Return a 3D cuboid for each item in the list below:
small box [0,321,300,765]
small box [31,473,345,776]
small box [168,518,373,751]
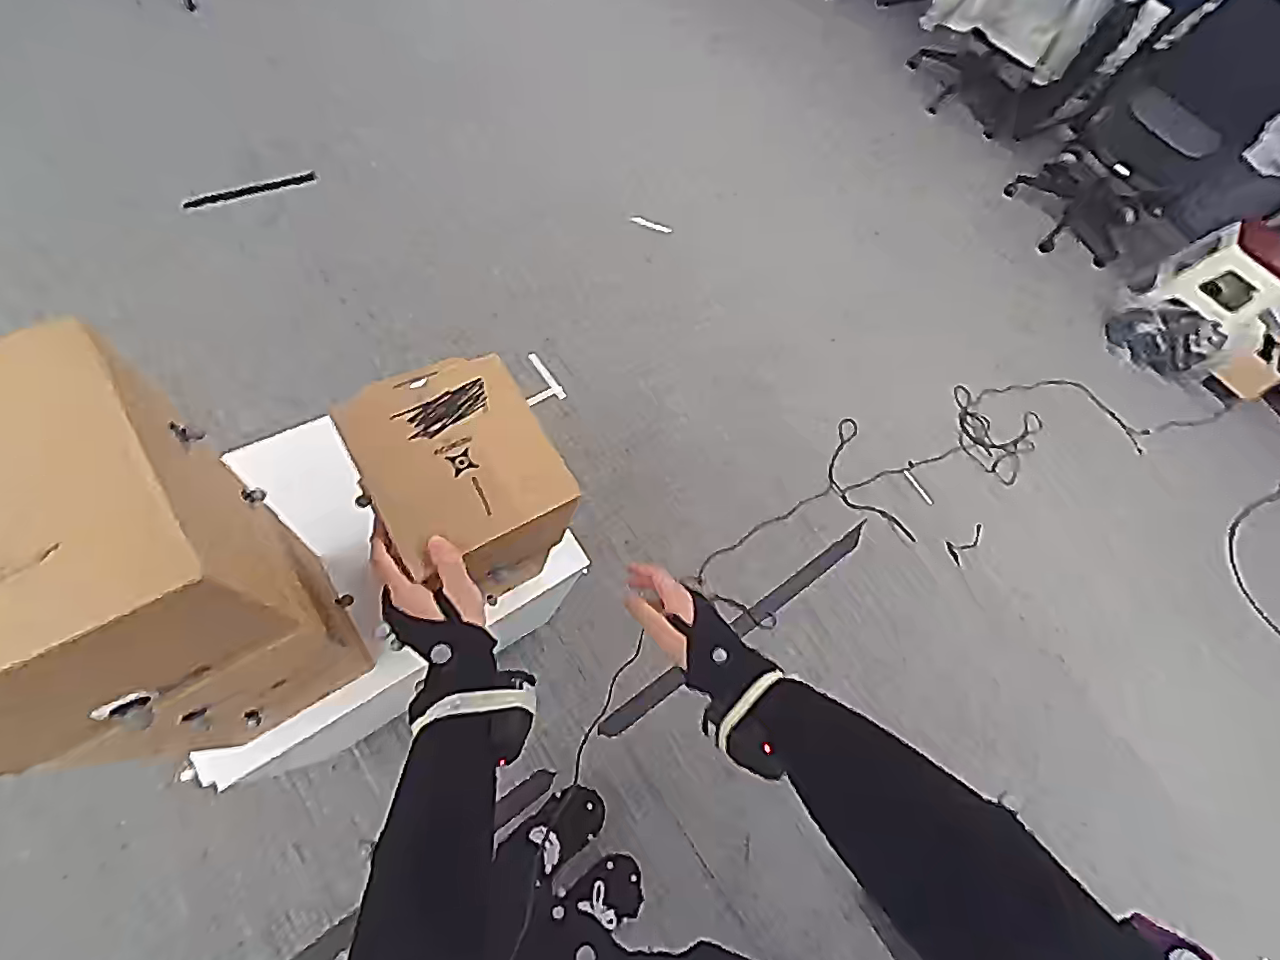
[{"bbox_3d":[-0.342,0.047,0.318,0.168,0.176,0.179,-31,79,-25],"label":"small box"},{"bbox_3d":[-0.383,0.113,0.461,0.168,0.176,0.179,-31,78,-25],"label":"small box"},{"bbox_3d":[-0.427,0.176,0.605,0.168,0.176,0.179,-29,76,-25],"label":"small box"}]
